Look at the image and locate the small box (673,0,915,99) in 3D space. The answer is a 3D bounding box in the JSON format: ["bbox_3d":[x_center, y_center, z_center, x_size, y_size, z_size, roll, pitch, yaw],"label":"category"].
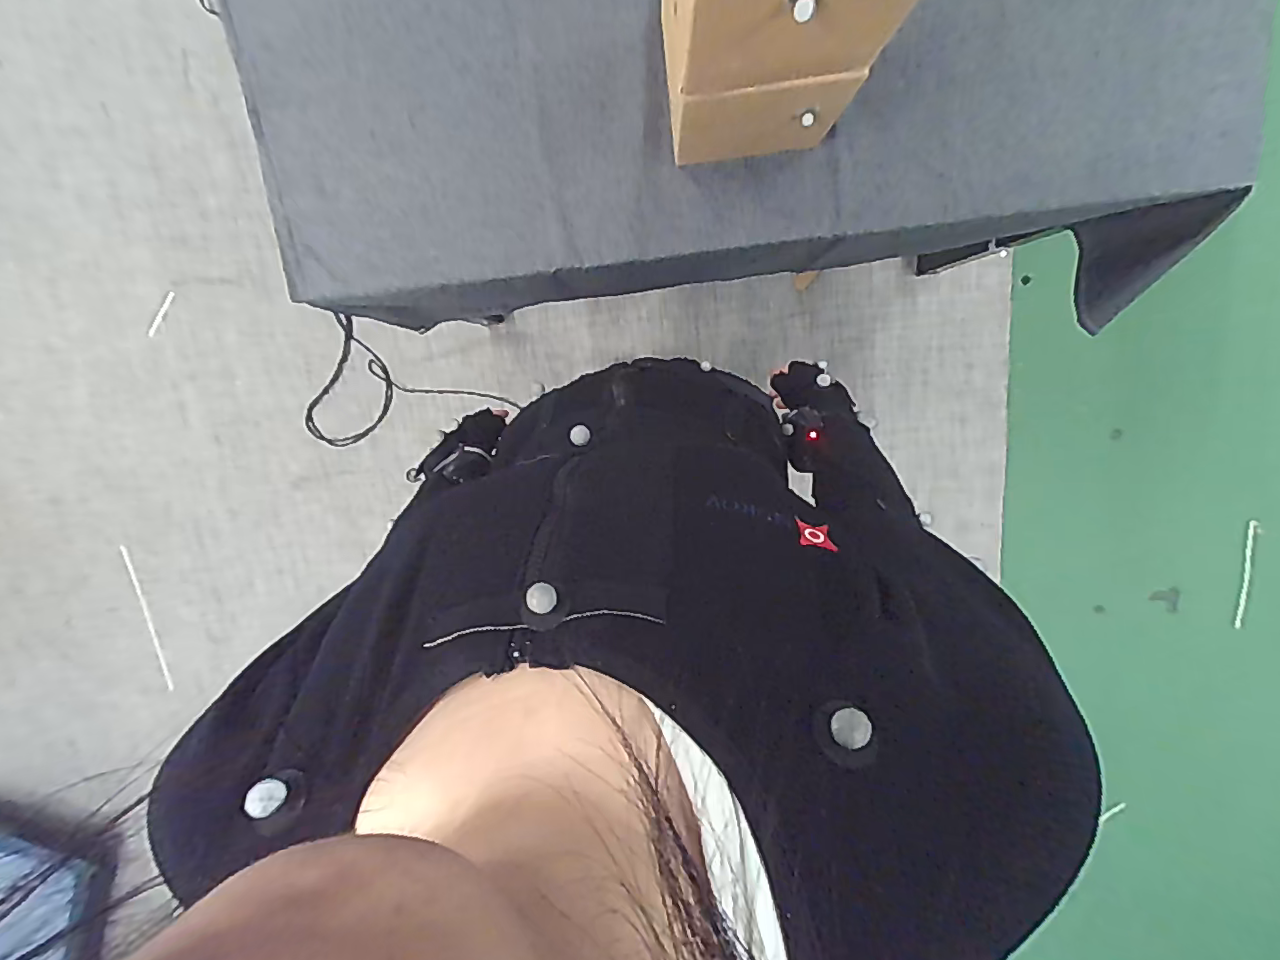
[{"bbox_3d":[0.115,-0.429,0.412,0.179,0.176,0.168,-7,101,4],"label":"small box"}]
